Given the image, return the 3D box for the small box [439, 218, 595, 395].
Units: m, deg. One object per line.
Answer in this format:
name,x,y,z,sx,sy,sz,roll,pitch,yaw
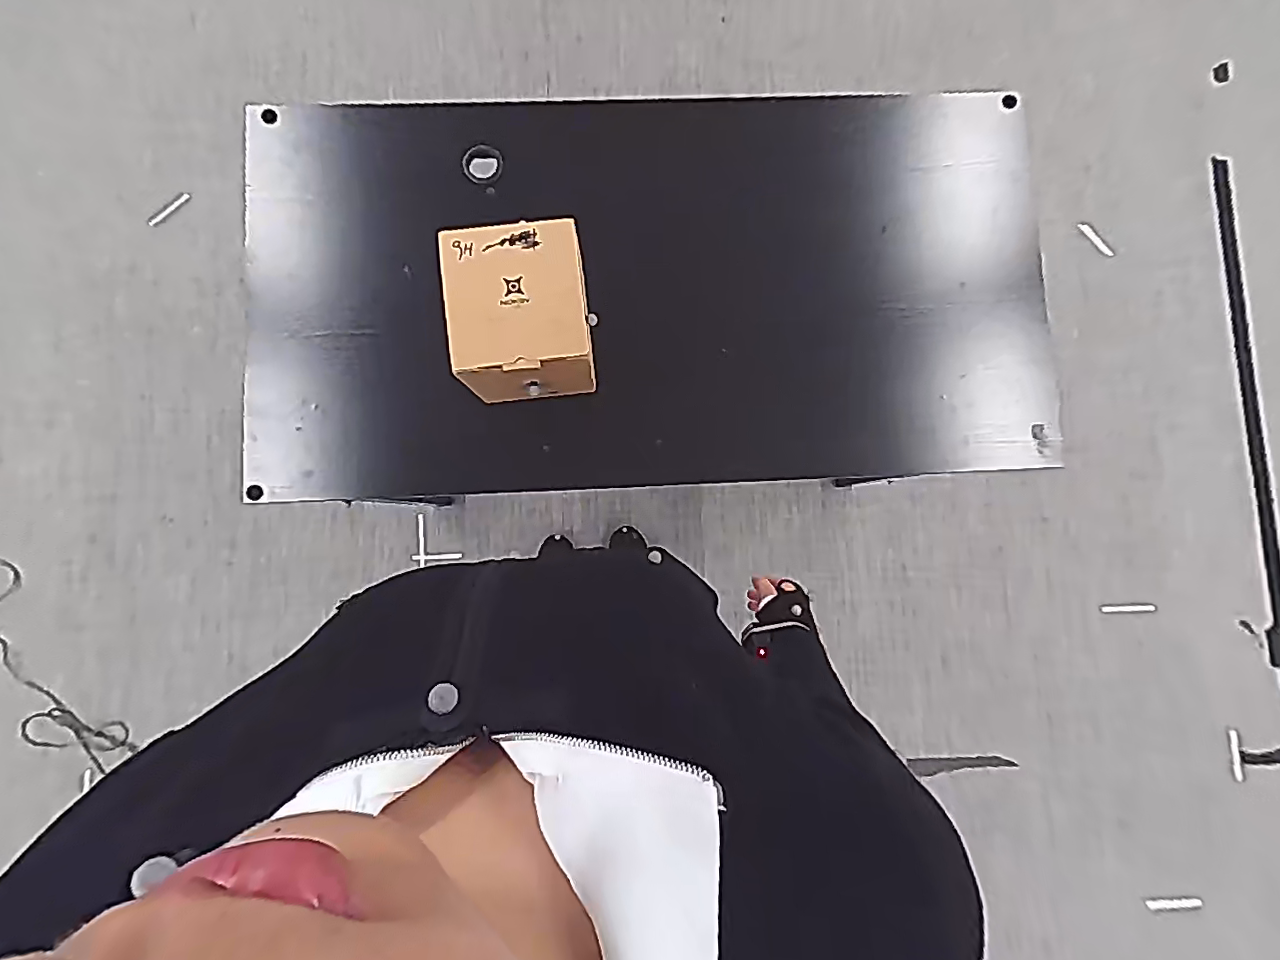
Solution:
small box,-0.154,-0.218,0.728,0.168,0.176,0.179,-7,86,-2
